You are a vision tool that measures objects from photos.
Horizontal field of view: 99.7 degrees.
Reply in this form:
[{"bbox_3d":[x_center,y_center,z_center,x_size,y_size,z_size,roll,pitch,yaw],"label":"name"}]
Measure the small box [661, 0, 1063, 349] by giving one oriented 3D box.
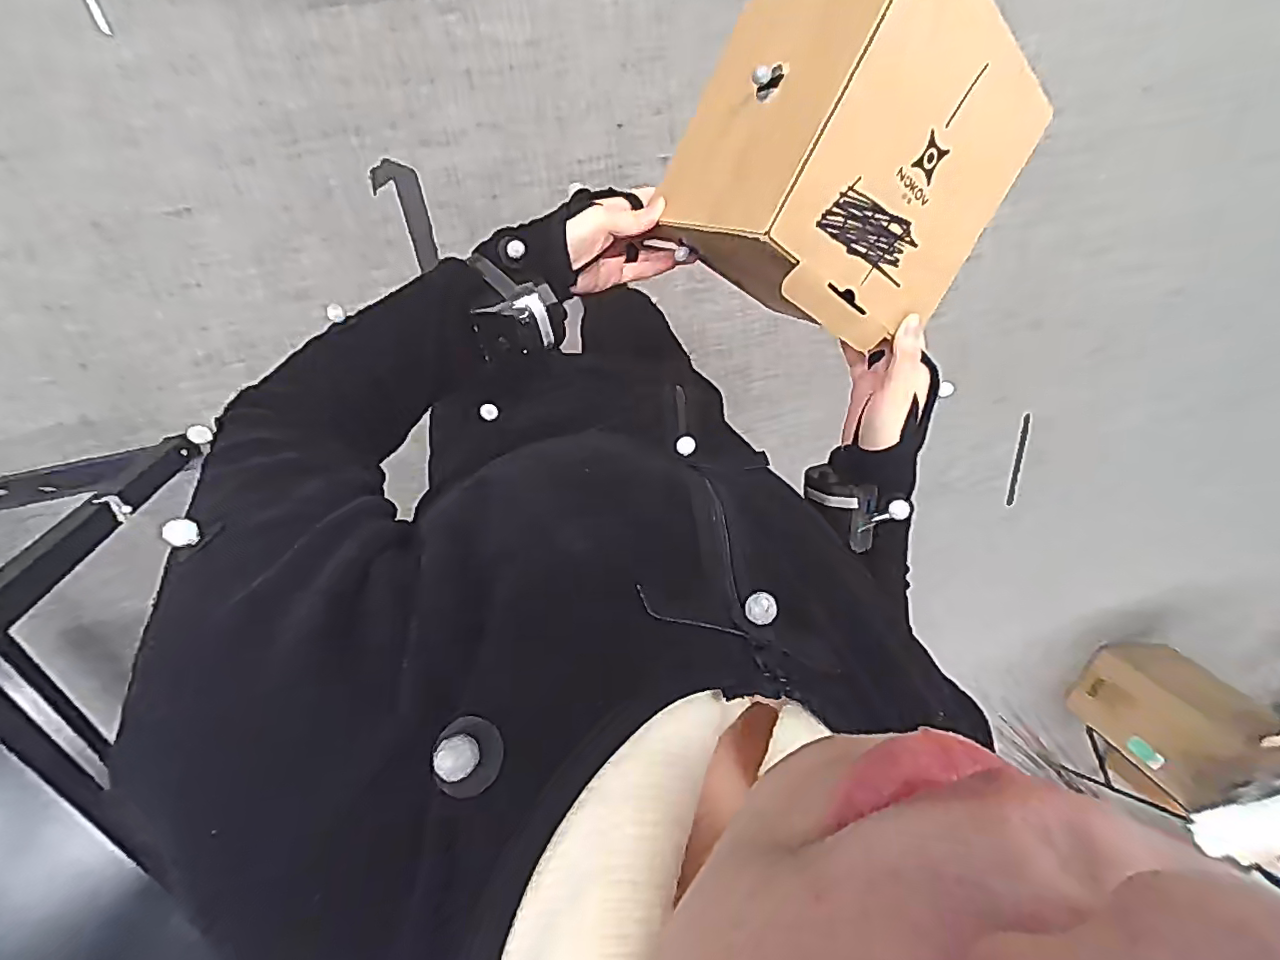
[{"bbox_3d":[0.138,-0.223,0.388,0.168,0.176,0.179,19,105,-35],"label":"small box"}]
